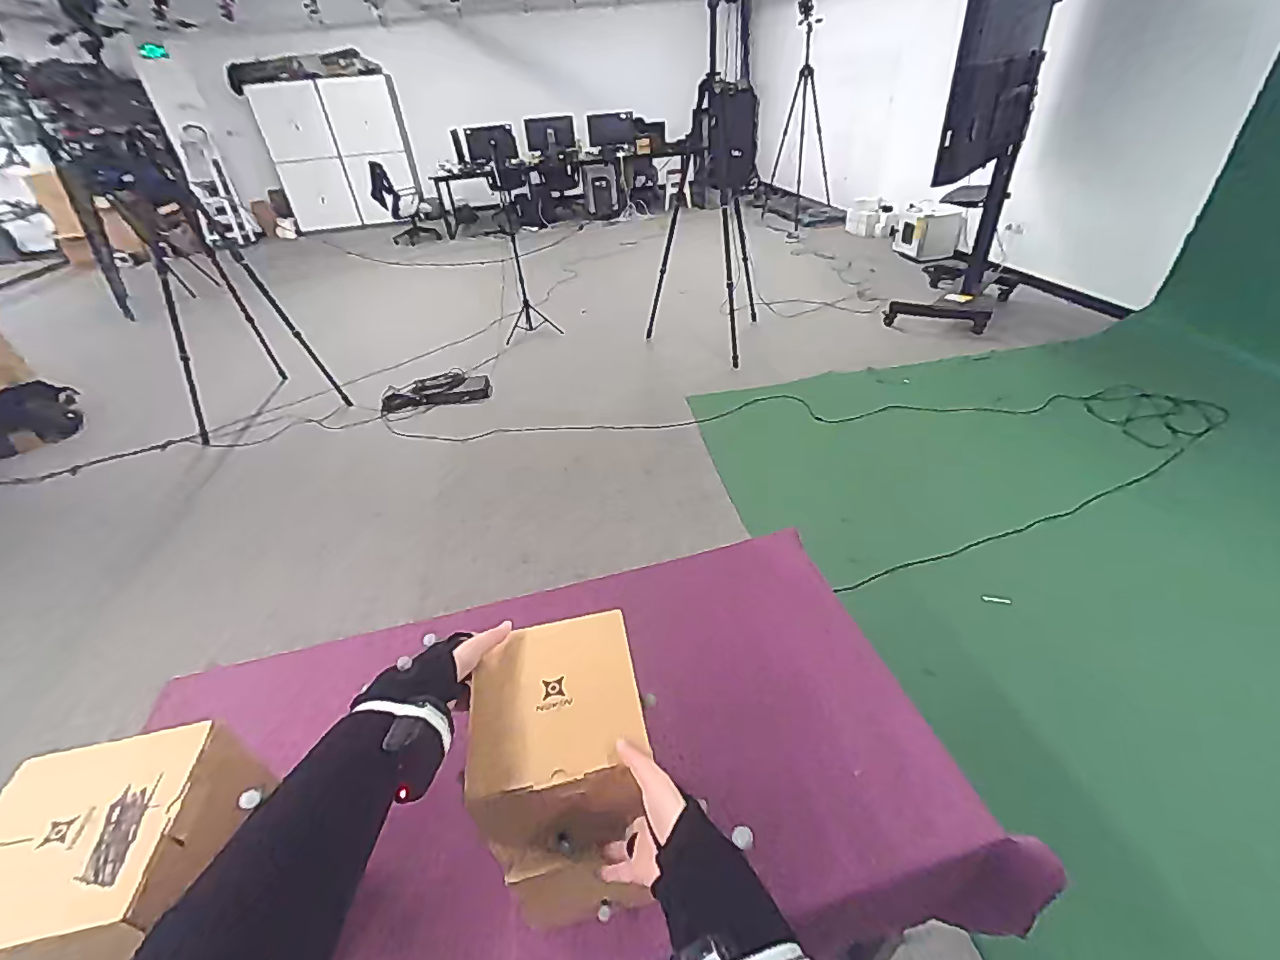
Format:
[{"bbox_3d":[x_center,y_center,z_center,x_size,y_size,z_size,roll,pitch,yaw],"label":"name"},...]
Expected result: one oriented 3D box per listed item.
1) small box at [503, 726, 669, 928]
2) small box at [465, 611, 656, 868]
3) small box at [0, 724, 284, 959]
[{"bbox_3d":[-0.066,0.413,0.671,0.179,0.176,0.168,-10,36,-7],"label":"small box"},{"bbox_3d":[-0.081,0.275,0.585,0.168,0.176,0.179,-10,38,-6],"label":"small box"},{"bbox_3d":[-0.481,0.366,0.511,0.179,0.176,0.168,-10,37,-7],"label":"small box"}]
